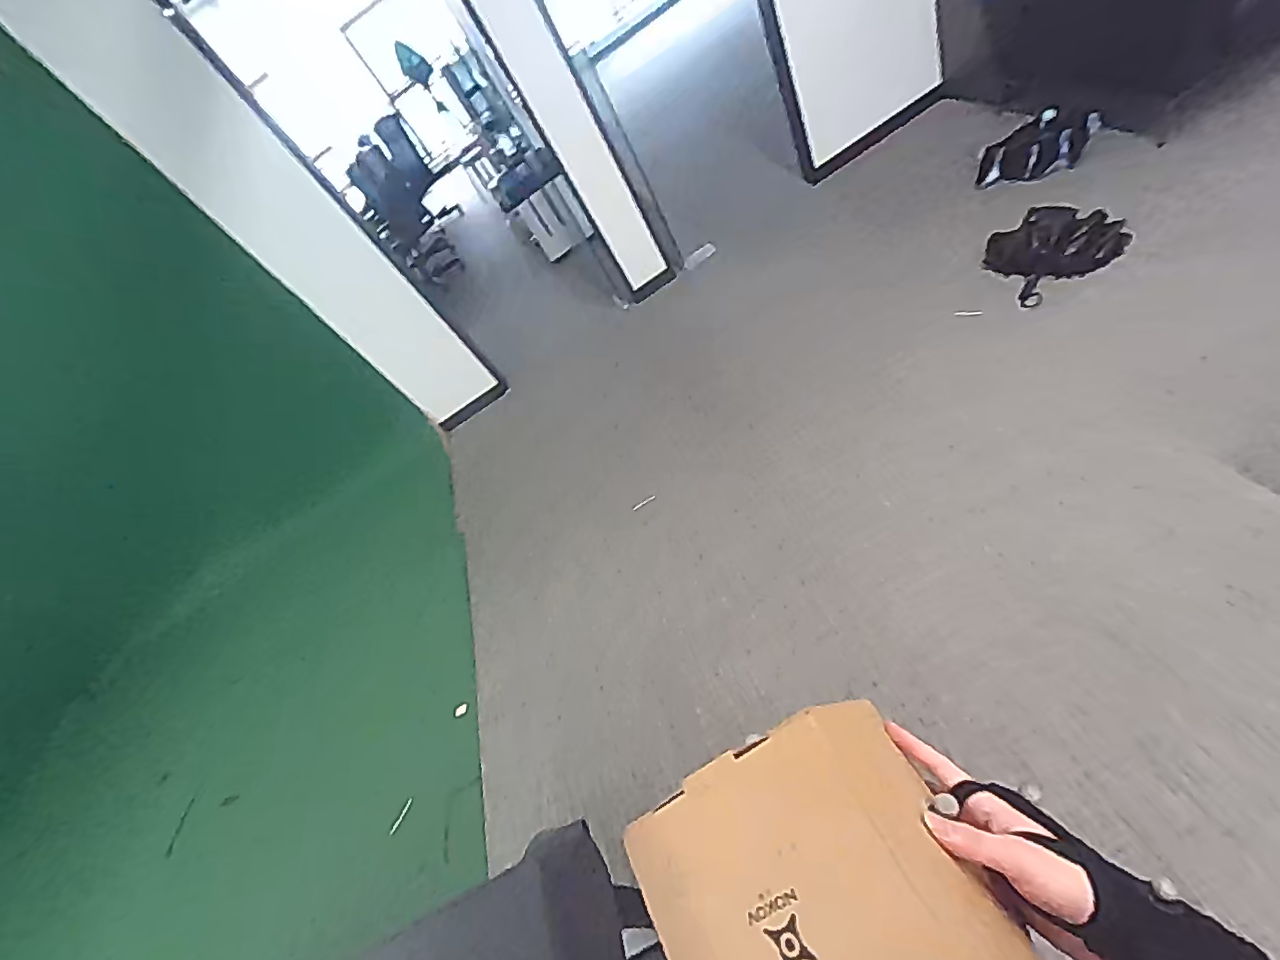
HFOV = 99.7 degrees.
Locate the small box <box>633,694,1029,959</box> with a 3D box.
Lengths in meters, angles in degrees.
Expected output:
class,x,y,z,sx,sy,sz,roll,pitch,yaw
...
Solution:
class,x,y,z,sx,sy,sz,roll,pitch,yaw
small box,0.131,0.272,0.379,0.168,0.176,0.179,-42,55,16
